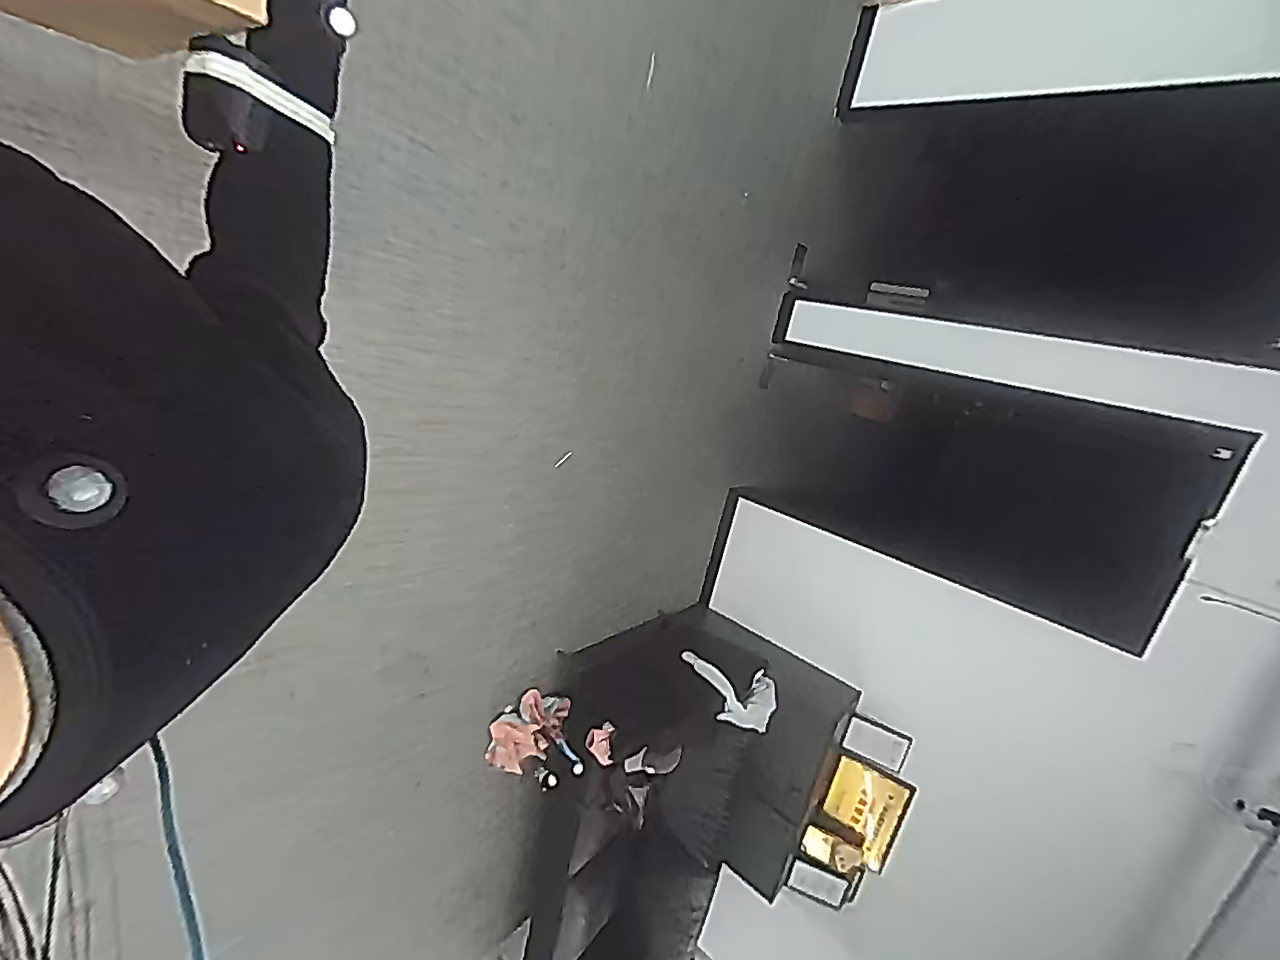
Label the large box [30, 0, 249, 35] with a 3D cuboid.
[{"bbox_3d":[-0.468,-0.487,0.249,0.408,0.320,0.320,-11,120,-51],"label":"large box"}]
